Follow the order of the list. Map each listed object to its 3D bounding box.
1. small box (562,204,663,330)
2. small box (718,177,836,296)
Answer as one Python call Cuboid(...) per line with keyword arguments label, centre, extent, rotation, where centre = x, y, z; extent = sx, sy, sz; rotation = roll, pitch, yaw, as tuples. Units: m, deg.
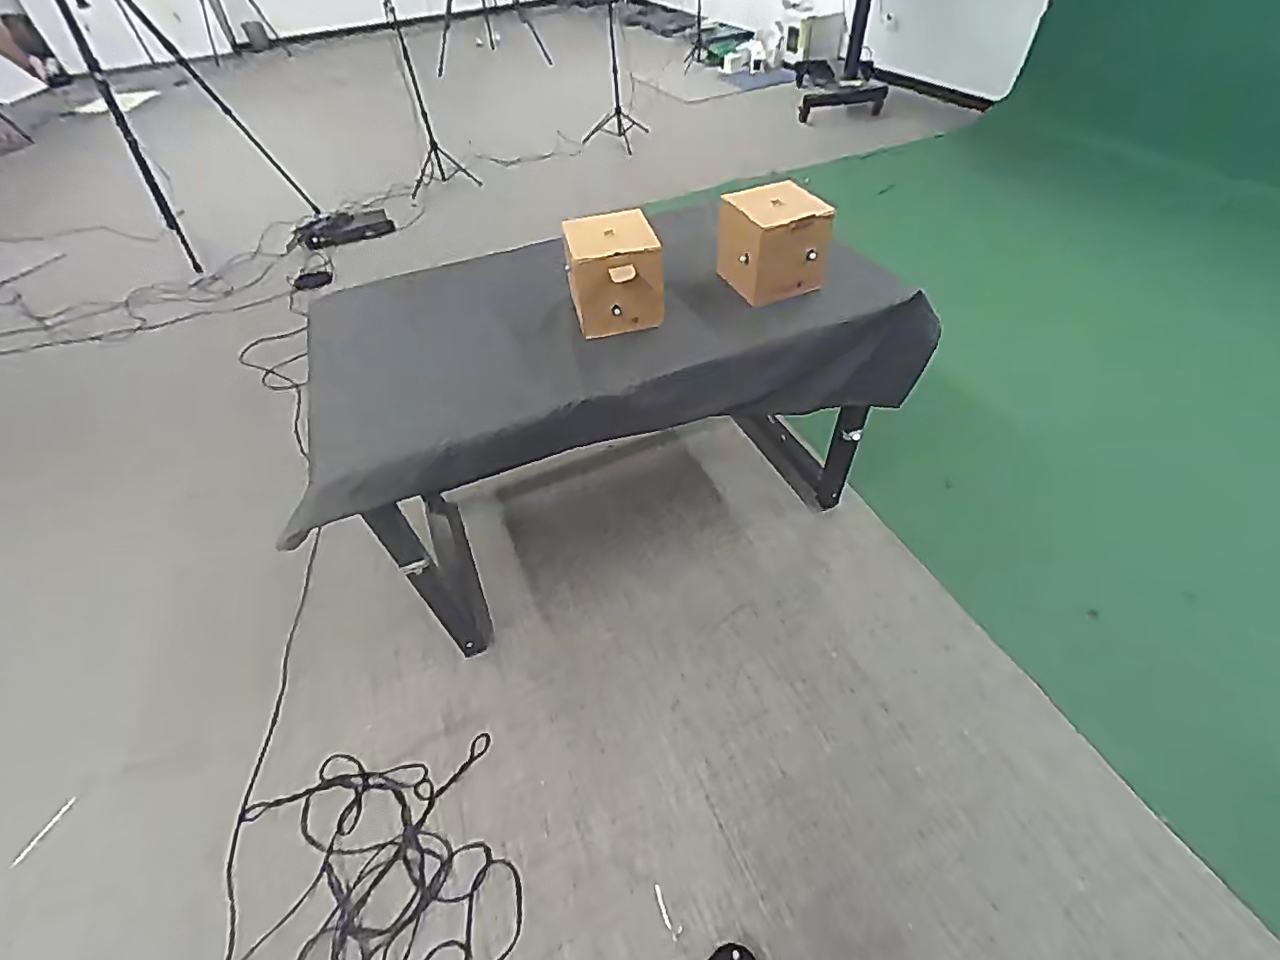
Cuboid(label="small box", centre=(-0.055, -0.424, 1.081), extent=(0.168, 0.176, 0.179), rotation=(-12, 49, -7))
Cuboid(label="small box", centre=(0.275, -0.500, 1.124), extent=(0.168, 0.176, 0.179), rotation=(-18, 49, -13))
